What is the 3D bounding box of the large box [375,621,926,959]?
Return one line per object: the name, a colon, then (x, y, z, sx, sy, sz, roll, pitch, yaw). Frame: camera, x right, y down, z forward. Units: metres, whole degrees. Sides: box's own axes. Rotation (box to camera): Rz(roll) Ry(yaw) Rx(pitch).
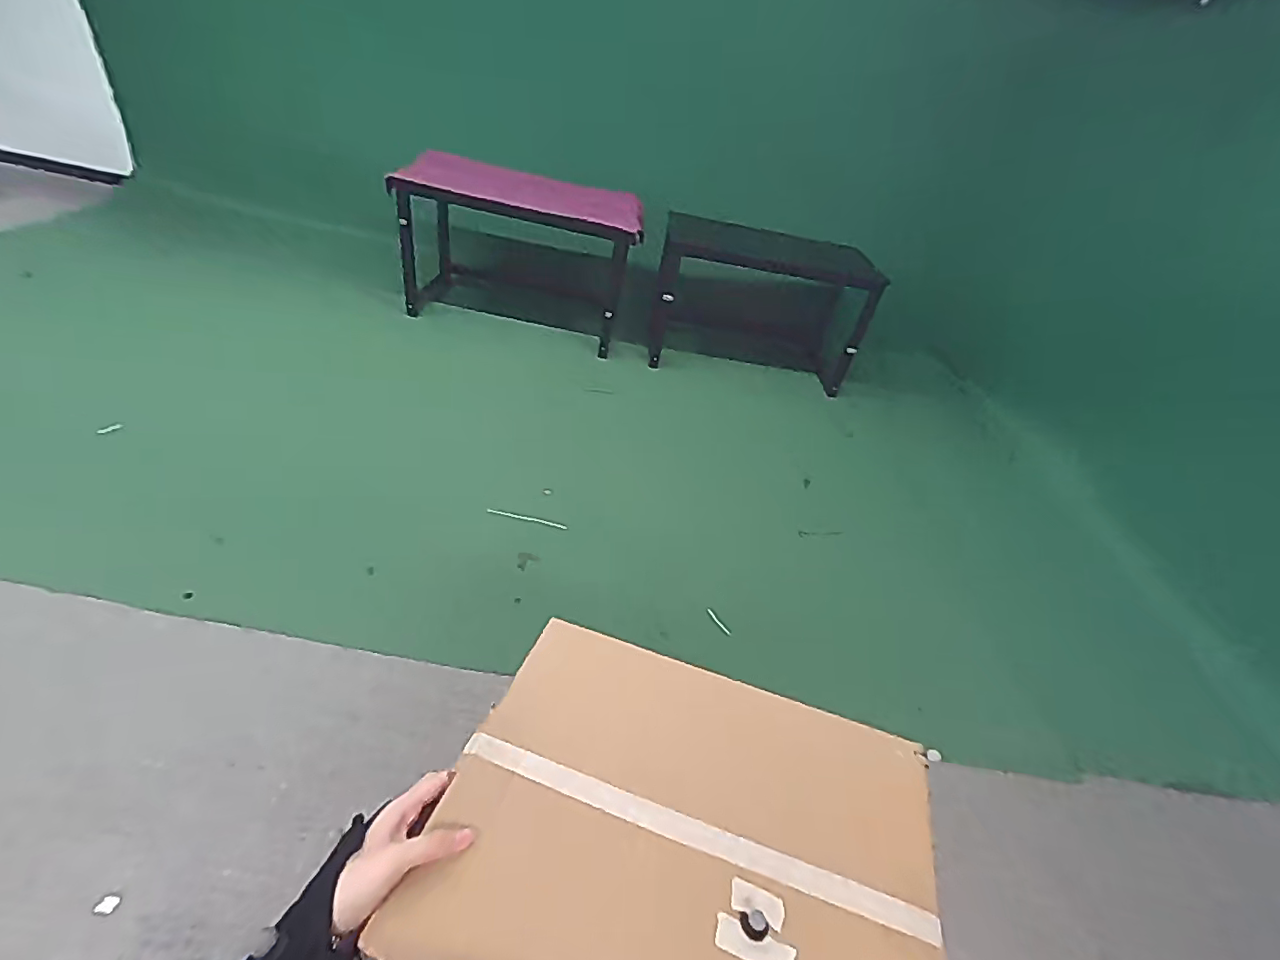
large box: (0.023, 0.411, 0.558, 0.408, 0.320, 0.320, 15, 39, 11)
